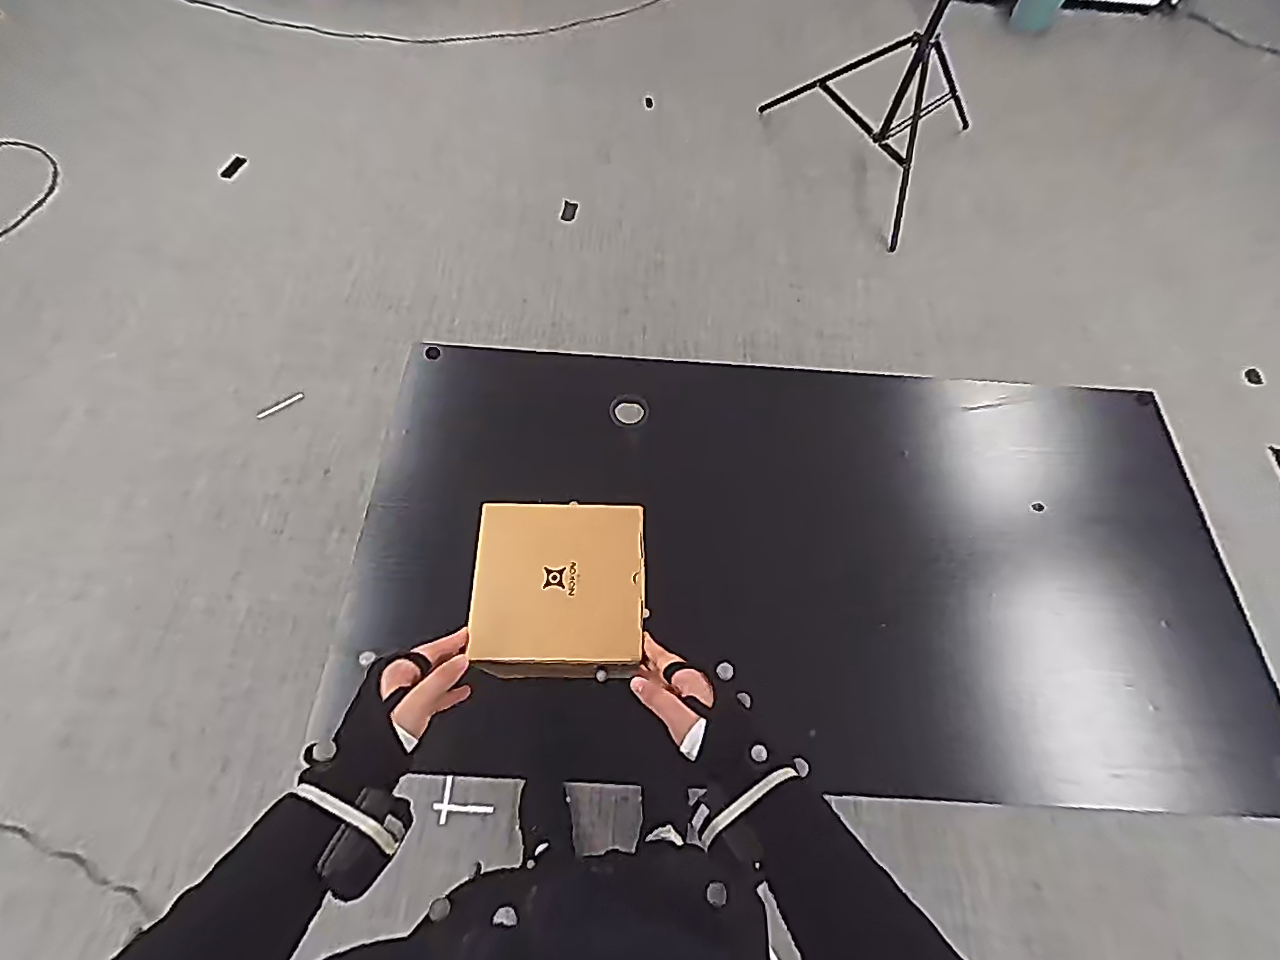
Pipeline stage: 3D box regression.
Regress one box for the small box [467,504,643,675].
[{"bbox_3d":[-0.087,0.137,0.639,0.179,0.176,0.168,1,65,-3],"label":"small box"}]
